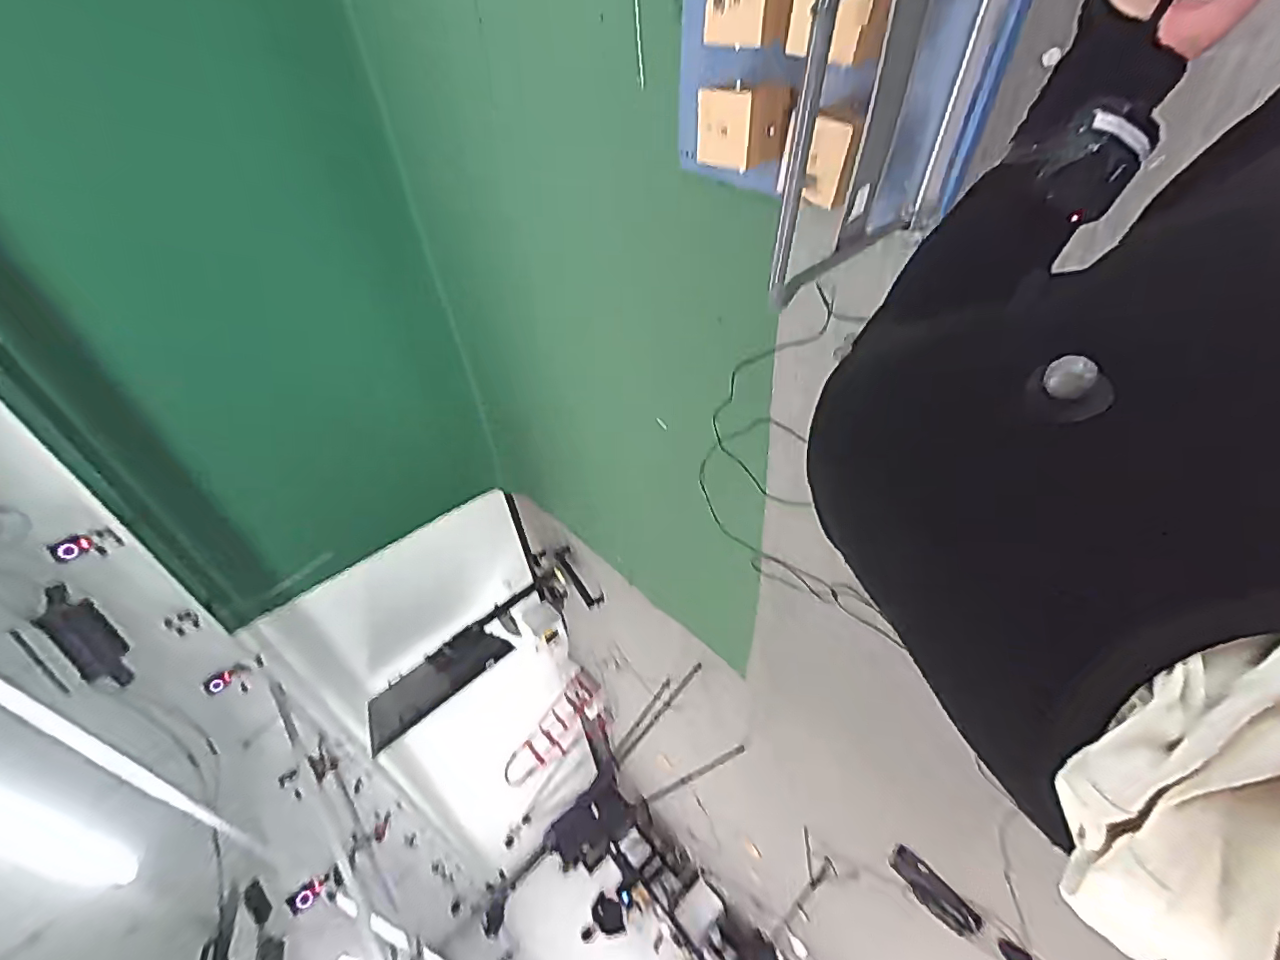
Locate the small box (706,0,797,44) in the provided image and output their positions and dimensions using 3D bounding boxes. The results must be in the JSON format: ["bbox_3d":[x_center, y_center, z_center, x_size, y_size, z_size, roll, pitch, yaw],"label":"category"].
[{"bbox_3d":[0.278,-1.135,1.259,0.179,0.176,0.168,35,146,32],"label":"small box"}]

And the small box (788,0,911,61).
[{"bbox_3d":[0.448,-1.004,1.136,0.179,0.176,0.168,38,147,29],"label":"small box"}]

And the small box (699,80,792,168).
[{"bbox_3d":[0.280,-0.955,1.441,0.179,0.176,0.168,35,144,33],"label":"small box"}]
